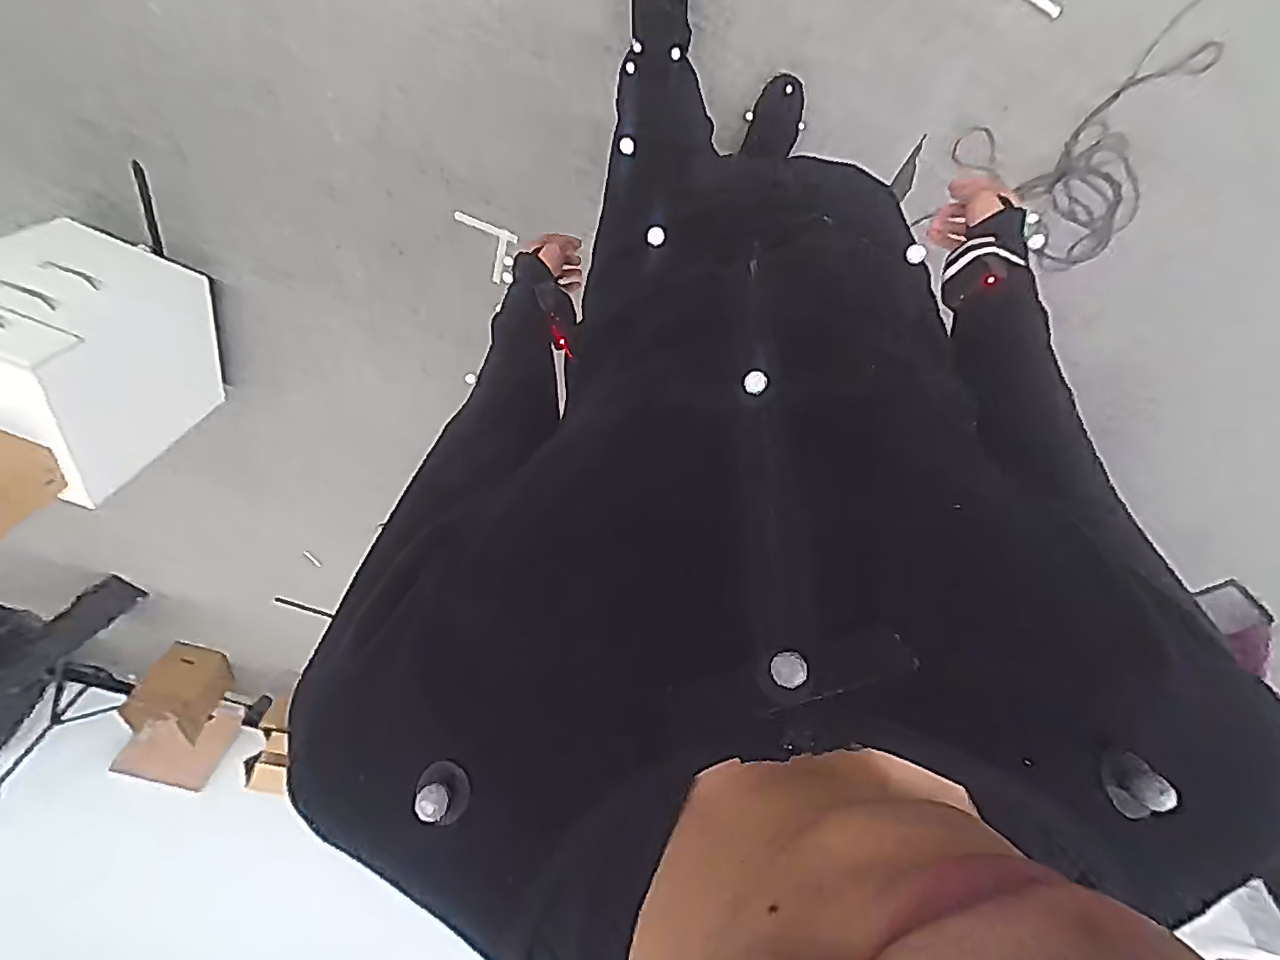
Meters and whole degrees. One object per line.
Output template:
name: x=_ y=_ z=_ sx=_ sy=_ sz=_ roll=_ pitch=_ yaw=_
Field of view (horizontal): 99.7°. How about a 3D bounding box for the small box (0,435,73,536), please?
small box: x=-1.624 y=0.007 z=1.372 sx=0.179 sy=0.176 sz=0.168 roll=23 pitch=132 yaw=-11
